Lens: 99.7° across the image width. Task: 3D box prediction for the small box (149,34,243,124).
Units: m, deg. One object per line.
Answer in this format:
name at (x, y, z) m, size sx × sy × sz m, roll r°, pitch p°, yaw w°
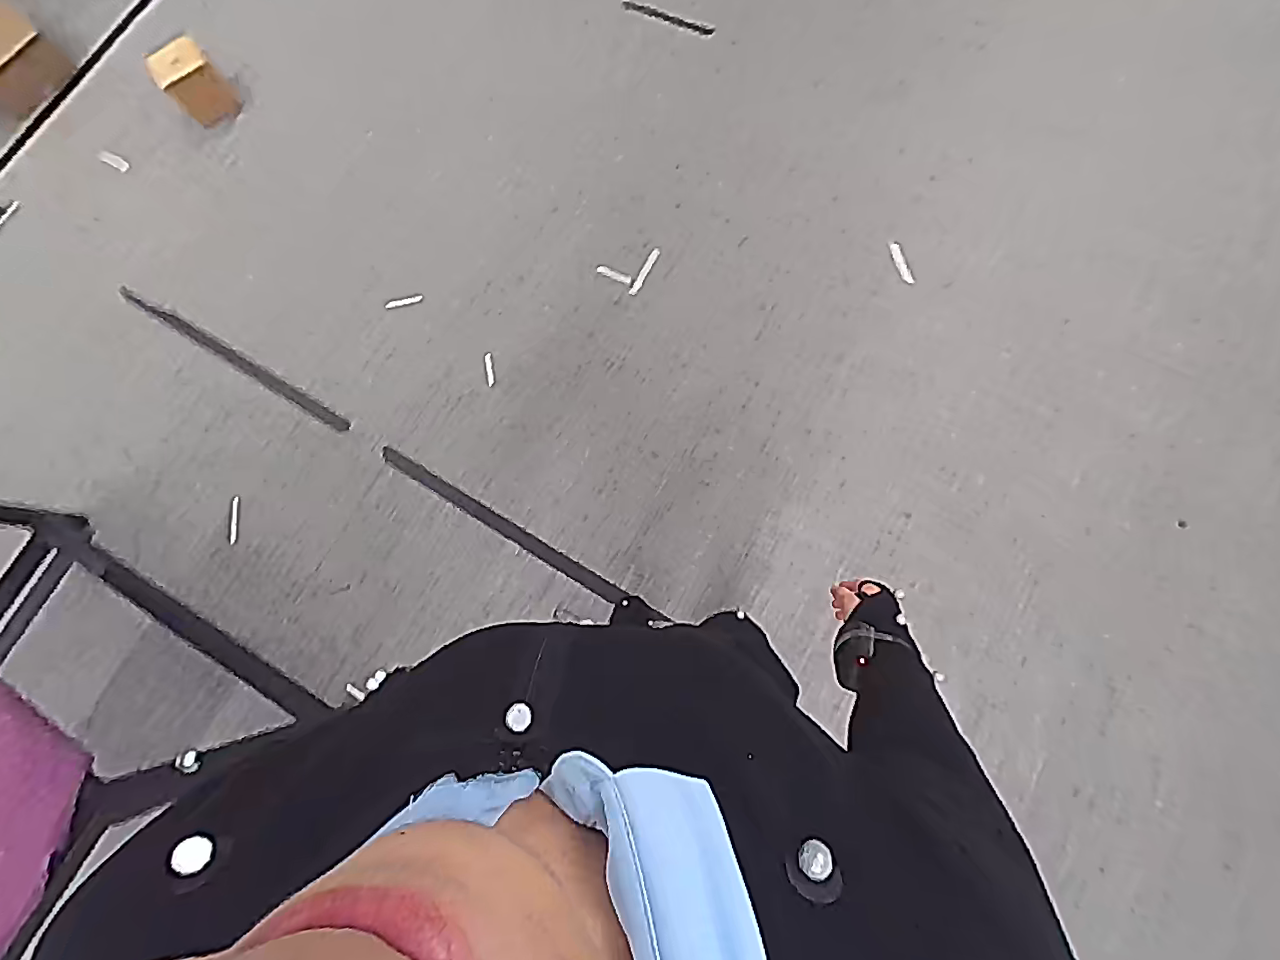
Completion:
small box at (-1.604, -1.447, 1.961) m, size 0.179 × 0.176 × 0.168 m, roll -35°, pitch 76°, yaw -4°
